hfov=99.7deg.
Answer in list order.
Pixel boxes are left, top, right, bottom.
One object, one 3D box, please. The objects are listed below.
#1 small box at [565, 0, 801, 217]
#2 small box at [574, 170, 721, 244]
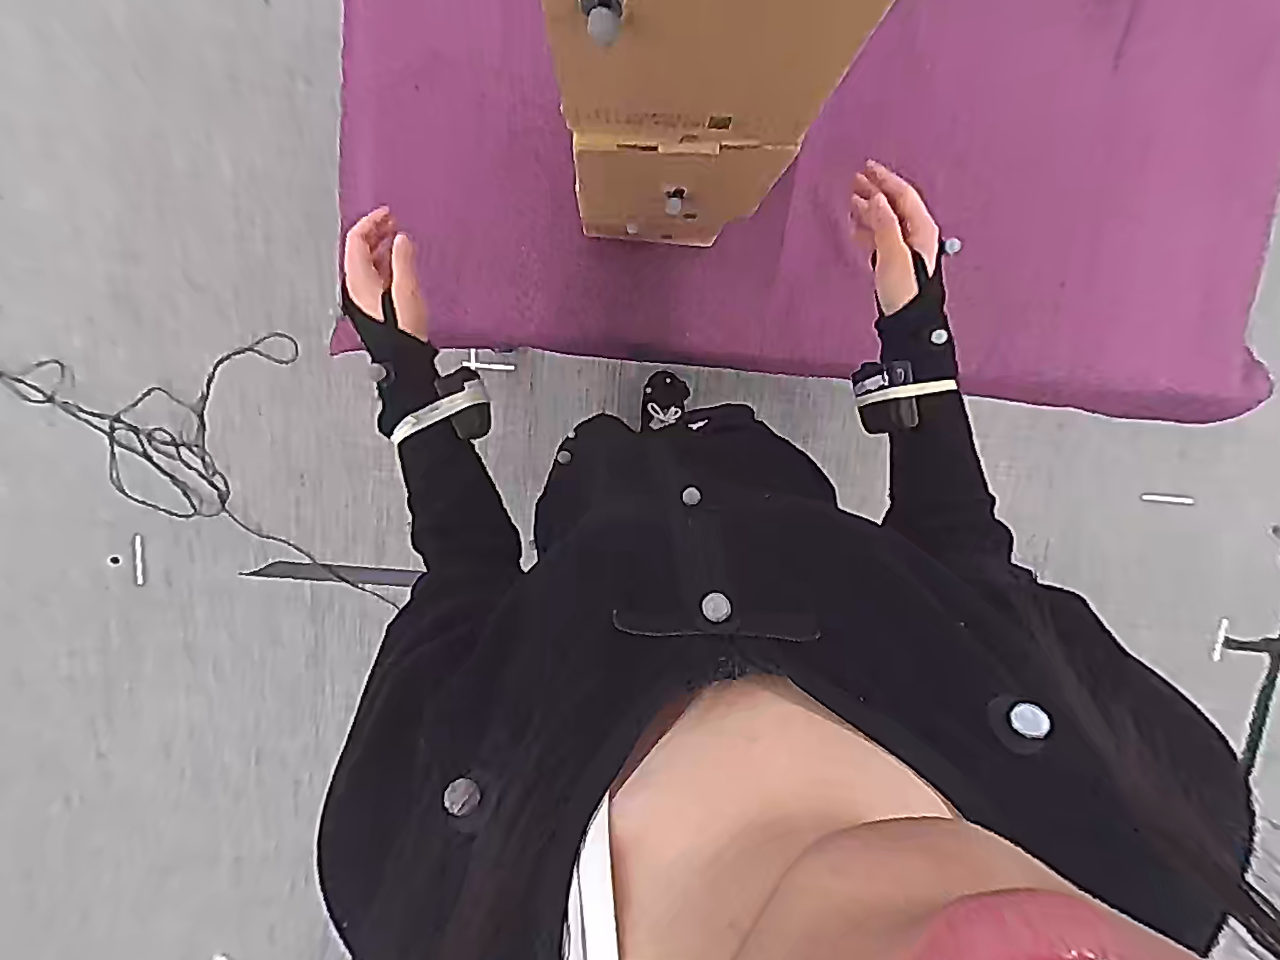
[{"bbox_3d":[0.028,-0.333,0.452,0.168,0.176,0.179,-1,100,-2],"label":"small box"},{"bbox_3d":[0.019,-0.381,0.610,0.168,0.176,0.179,3,99,-3],"label":"small box"}]
